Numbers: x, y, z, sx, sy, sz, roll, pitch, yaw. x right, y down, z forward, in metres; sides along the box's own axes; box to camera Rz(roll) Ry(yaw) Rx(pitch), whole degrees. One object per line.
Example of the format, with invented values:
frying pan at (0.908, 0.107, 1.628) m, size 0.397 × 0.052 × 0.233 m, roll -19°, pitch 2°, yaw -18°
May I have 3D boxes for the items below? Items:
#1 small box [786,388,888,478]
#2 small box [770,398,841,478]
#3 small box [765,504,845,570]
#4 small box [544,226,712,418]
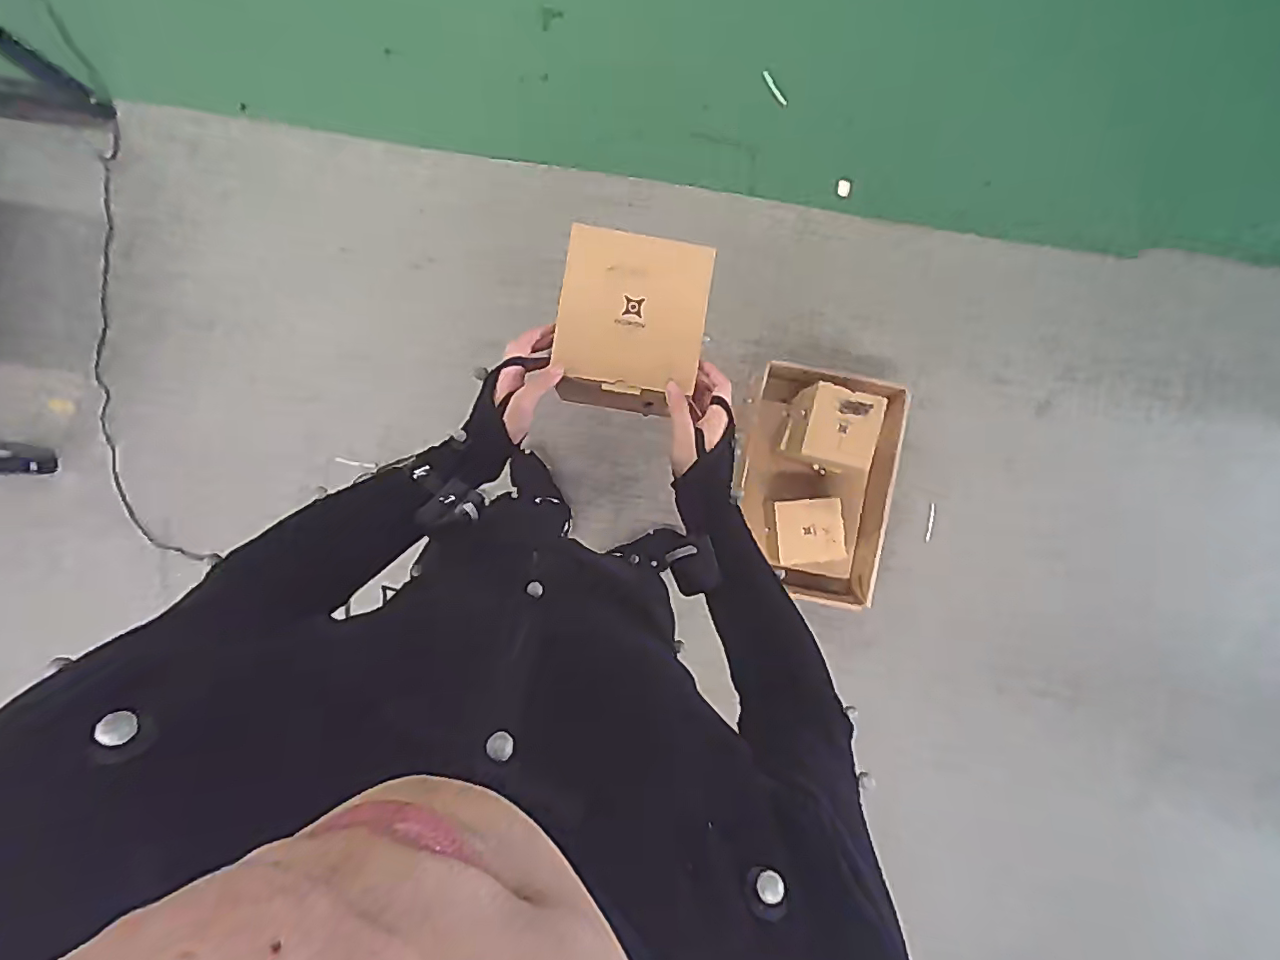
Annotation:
small box at (0.475, -0.110, 1.327) m, size 0.168 × 0.176 × 0.179 m, roll 15°, pitch 90°, yaw 1°
small box at (0.478, -0.109, 1.491) m, size 0.179 × 0.176 × 0.168 m, roll 23°, pitch 90°, yaw 0°
small box at (0.444, 0.152, 1.485) m, size 0.179 × 0.176 × 0.168 m, roll -4°, pitch 88°, yaw 1°
small box at (-0.016, -0.182, 0.677) m, size 0.168 × 0.176 × 0.179 m, roll 9°, pitch 88°, yaw -3°
